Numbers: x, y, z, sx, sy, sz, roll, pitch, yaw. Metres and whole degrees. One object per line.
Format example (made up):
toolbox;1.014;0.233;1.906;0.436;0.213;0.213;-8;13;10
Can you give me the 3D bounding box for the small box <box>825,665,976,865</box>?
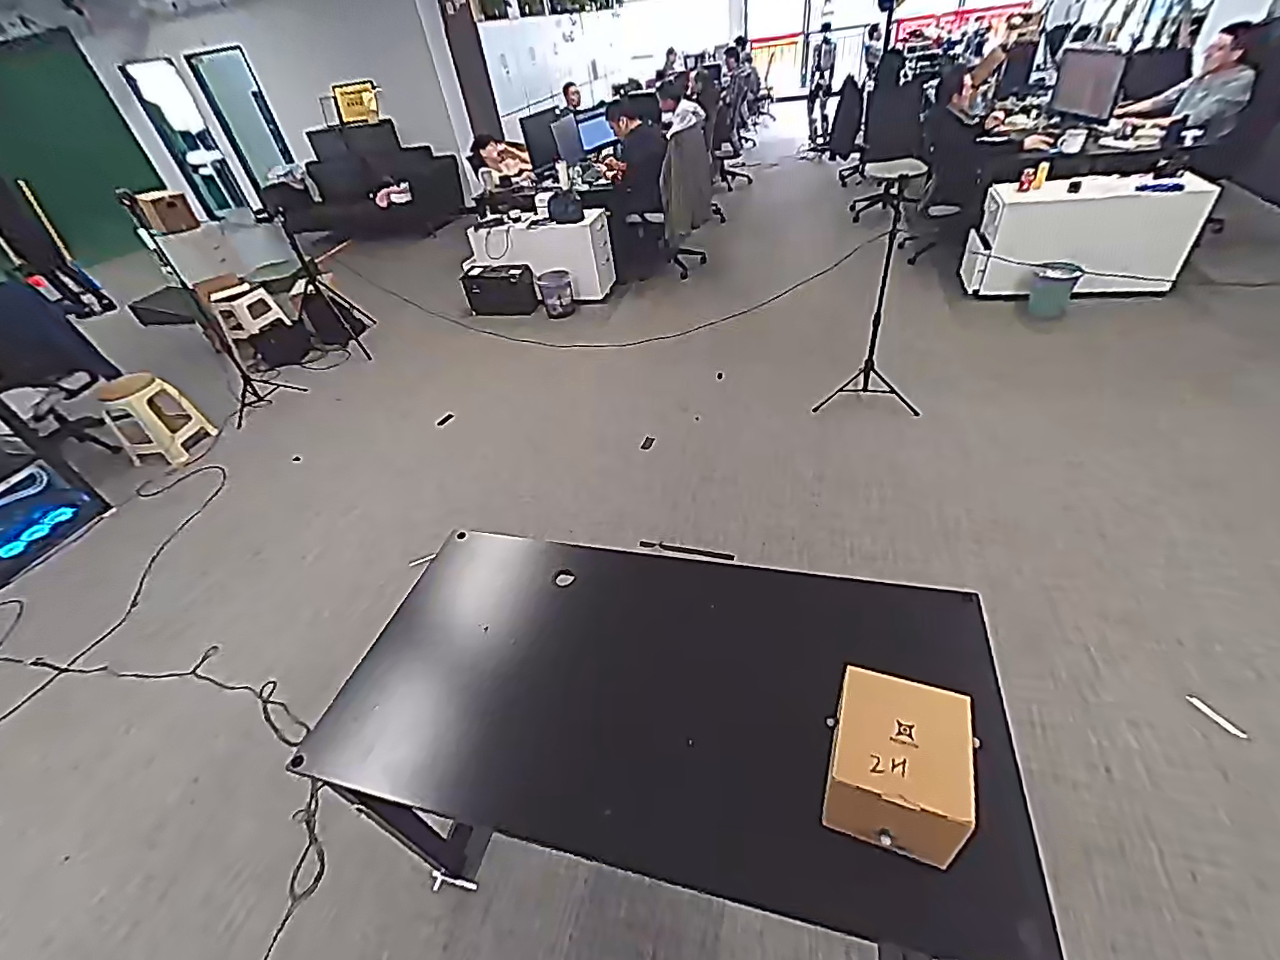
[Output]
small box;0.366;0.405;0.776;0.168;0.176;0.179;9;43;22
